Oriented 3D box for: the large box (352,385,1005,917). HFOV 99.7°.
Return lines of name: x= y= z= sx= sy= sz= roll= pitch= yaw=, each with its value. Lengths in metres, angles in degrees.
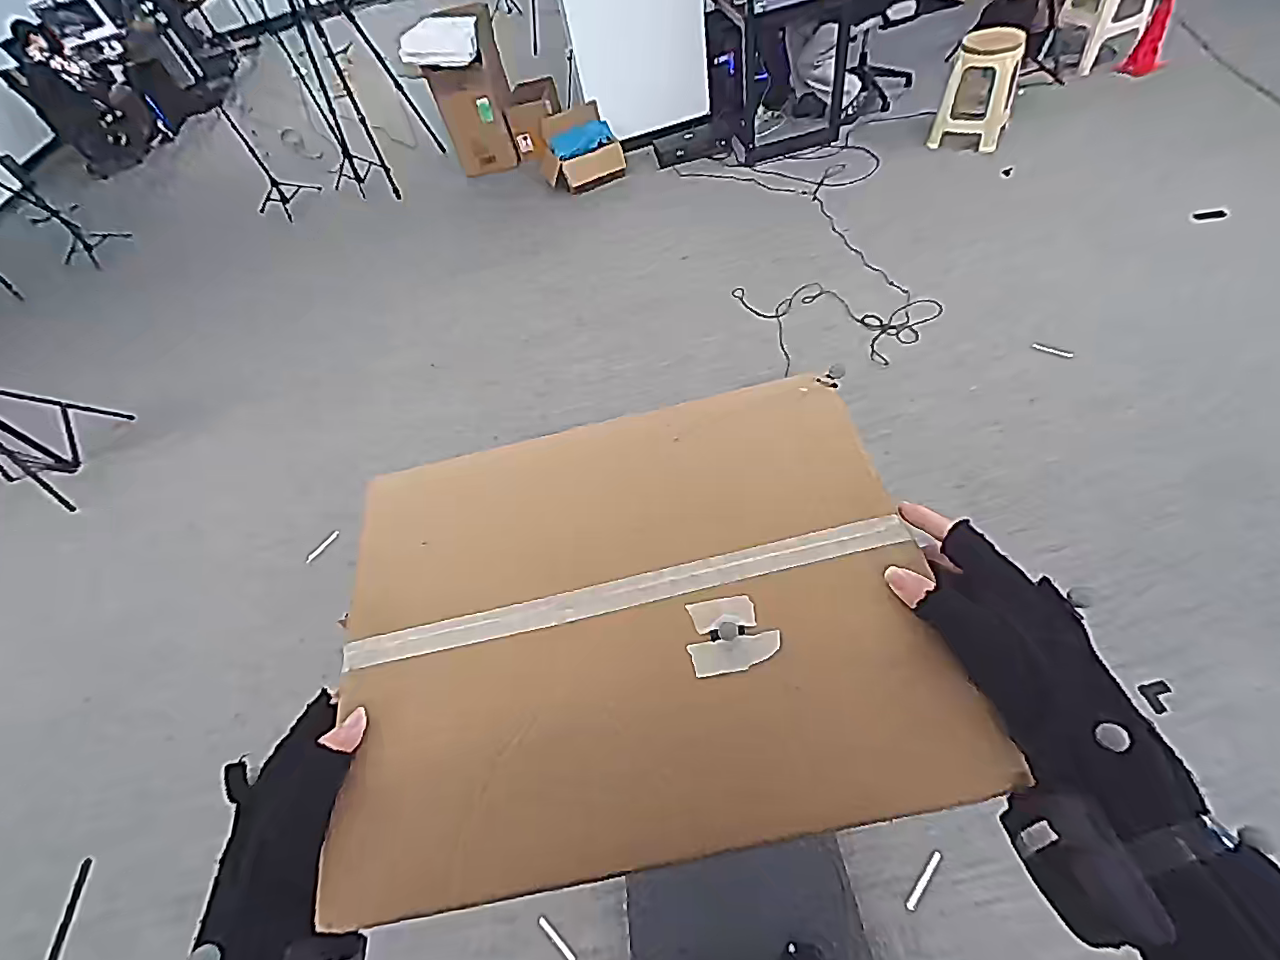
large box: x=0.015 y=0.166 z=0.519 sx=0.408 sy=0.320 sz=0.320 roll=-13 pitch=57 yaw=2
